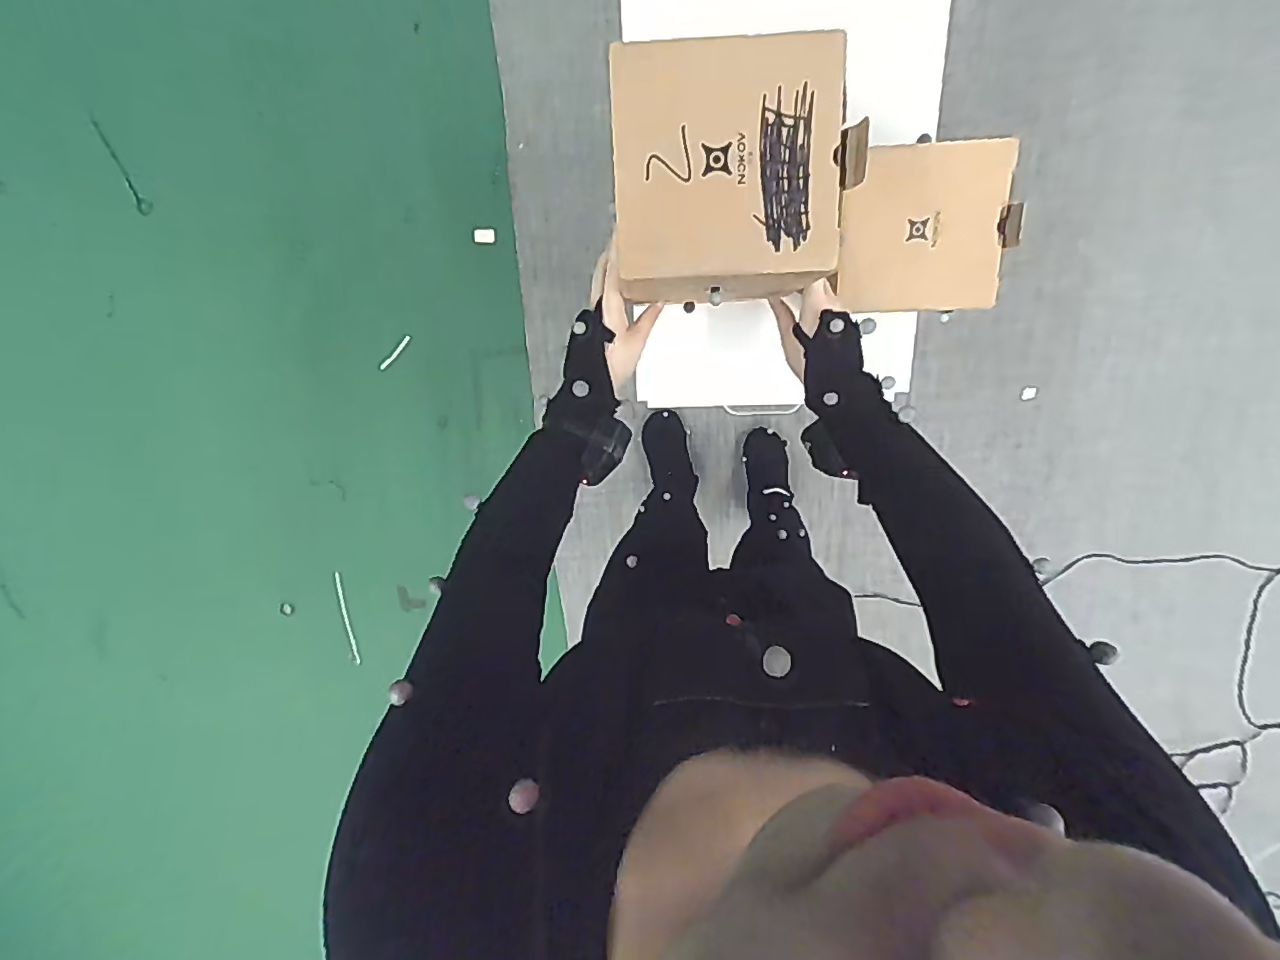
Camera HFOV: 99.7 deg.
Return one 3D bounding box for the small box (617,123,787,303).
[{"bbox_3d":[0.070,-0.304,0.649,0.179,0.176,0.168,-2,107,2],"label":"small box"}]
